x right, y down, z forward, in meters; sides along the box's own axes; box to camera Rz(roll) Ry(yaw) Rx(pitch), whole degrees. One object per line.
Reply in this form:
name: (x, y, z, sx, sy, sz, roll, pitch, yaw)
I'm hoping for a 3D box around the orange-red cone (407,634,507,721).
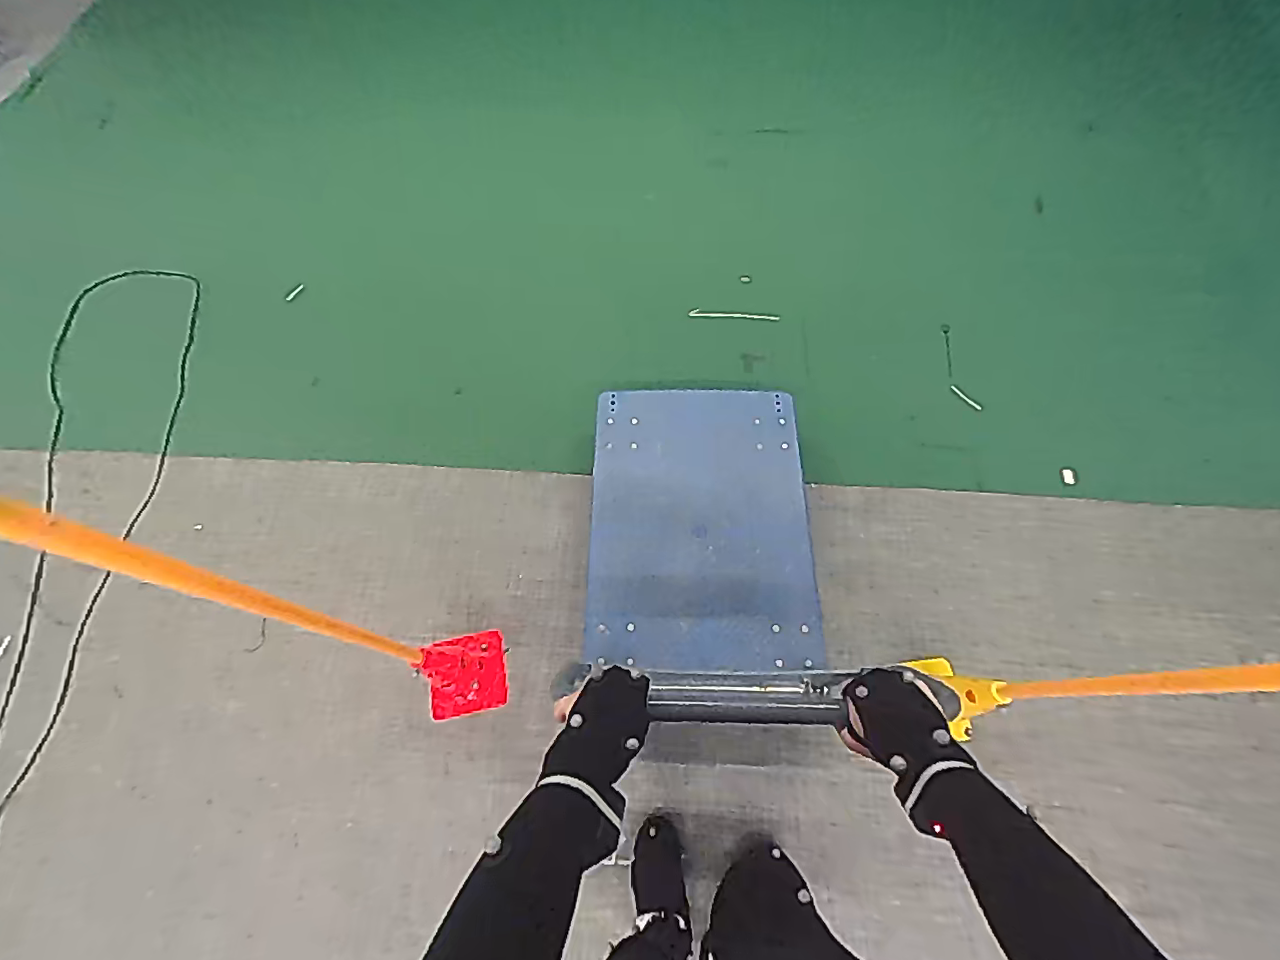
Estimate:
orange-red cone: (-0.459, 0.444, 1.271, 0.199, 0.360, 0.198, -11, 65, -3)
